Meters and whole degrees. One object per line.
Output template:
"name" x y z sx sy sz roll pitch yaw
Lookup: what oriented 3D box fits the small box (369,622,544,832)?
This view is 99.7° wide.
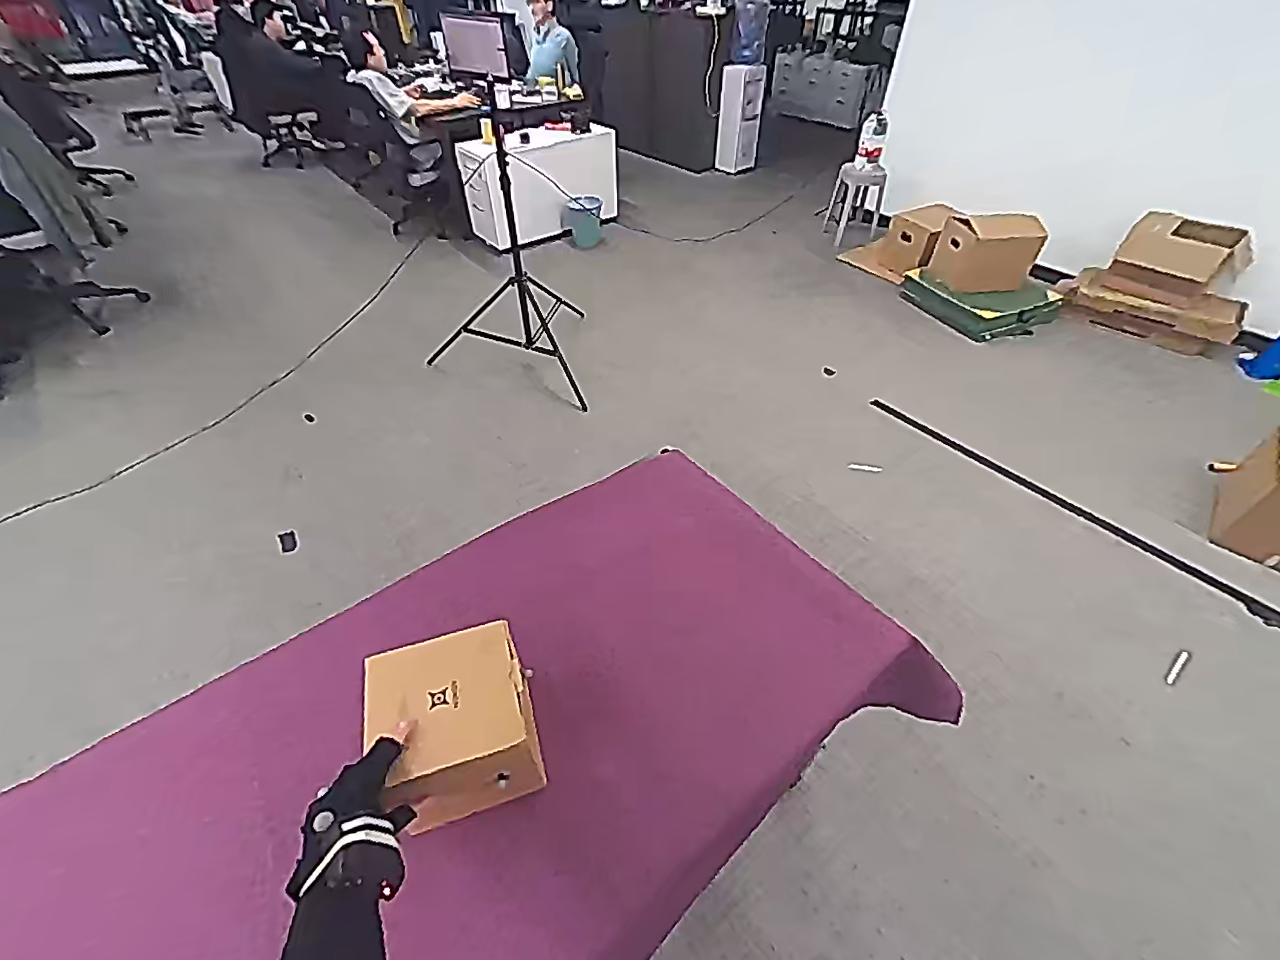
"small box" -0.227 0.317 0.696 0.179 0.176 0.168 -15 45 -12
